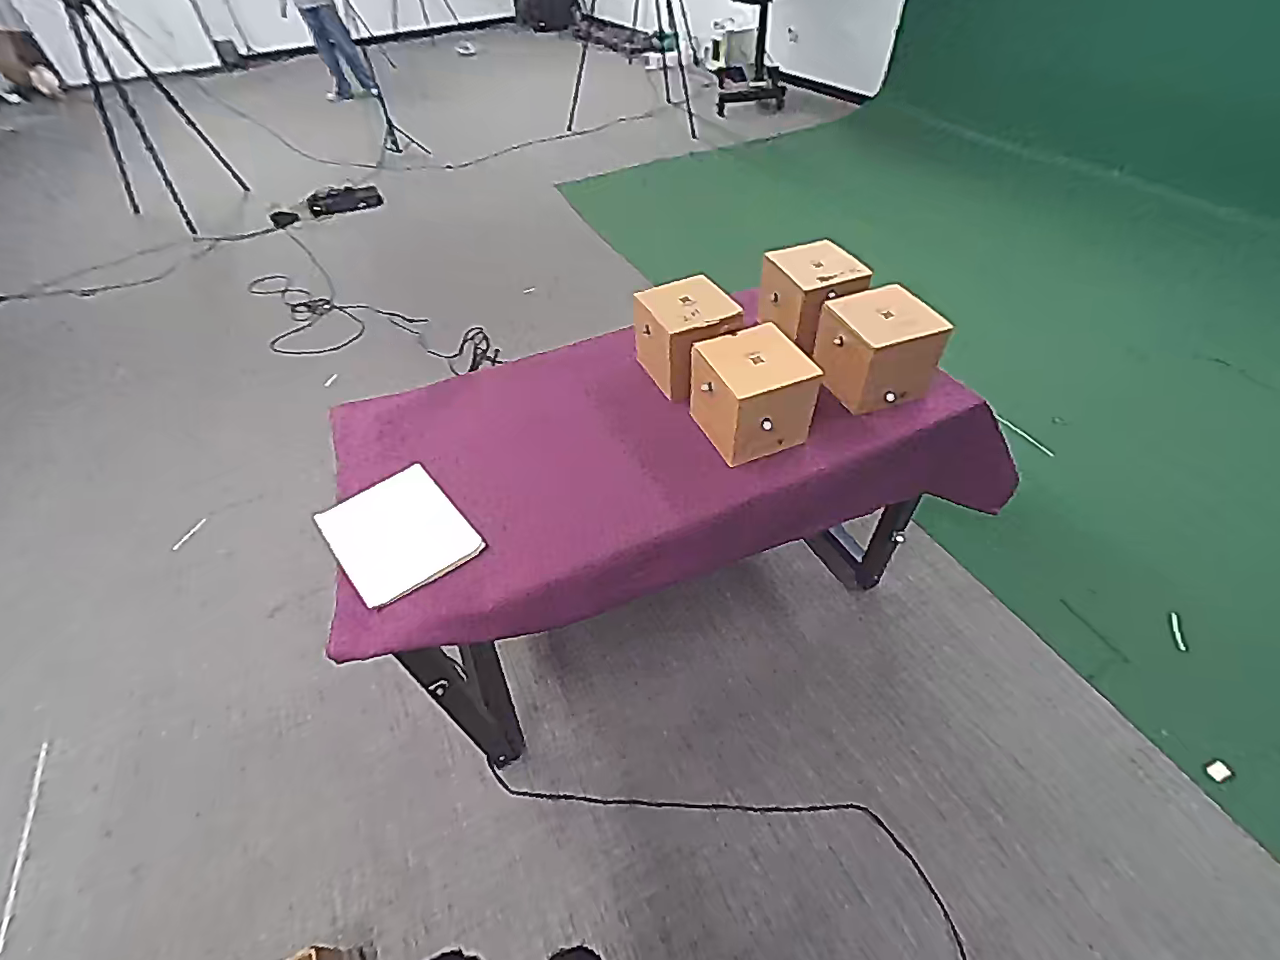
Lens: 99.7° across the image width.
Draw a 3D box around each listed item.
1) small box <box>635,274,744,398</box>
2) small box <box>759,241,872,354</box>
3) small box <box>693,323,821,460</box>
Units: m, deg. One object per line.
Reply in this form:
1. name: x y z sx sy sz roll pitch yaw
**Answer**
1. small box: 0.097 -0.301 1.138 0.168 0.176 0.179 -20 51 -14
2. small box: 0.382 -0.408 1.215 0.168 0.176 0.179 -17 49 -10
3. small box: 0.207 -0.158 1.005 0.168 0.176 0.179 -18 50 -12
